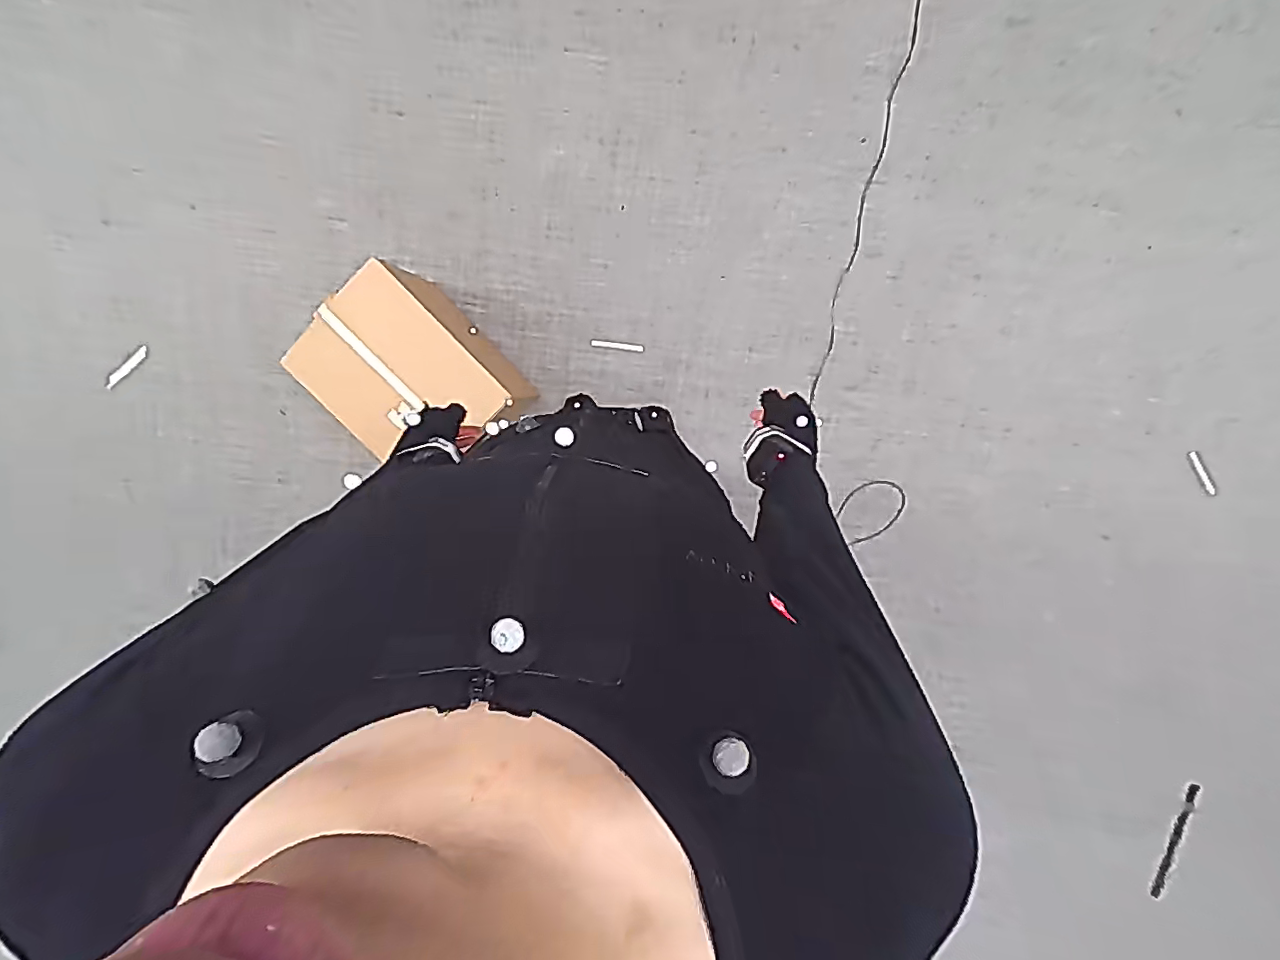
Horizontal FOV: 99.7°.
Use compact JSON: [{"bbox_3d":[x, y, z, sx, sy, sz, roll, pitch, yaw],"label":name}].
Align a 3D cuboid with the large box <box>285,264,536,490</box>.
[{"bbox_3d":[-0.524,-0.243,1.319,0.320,0.320,0.408,-44,97,8],"label":"large box"}]
